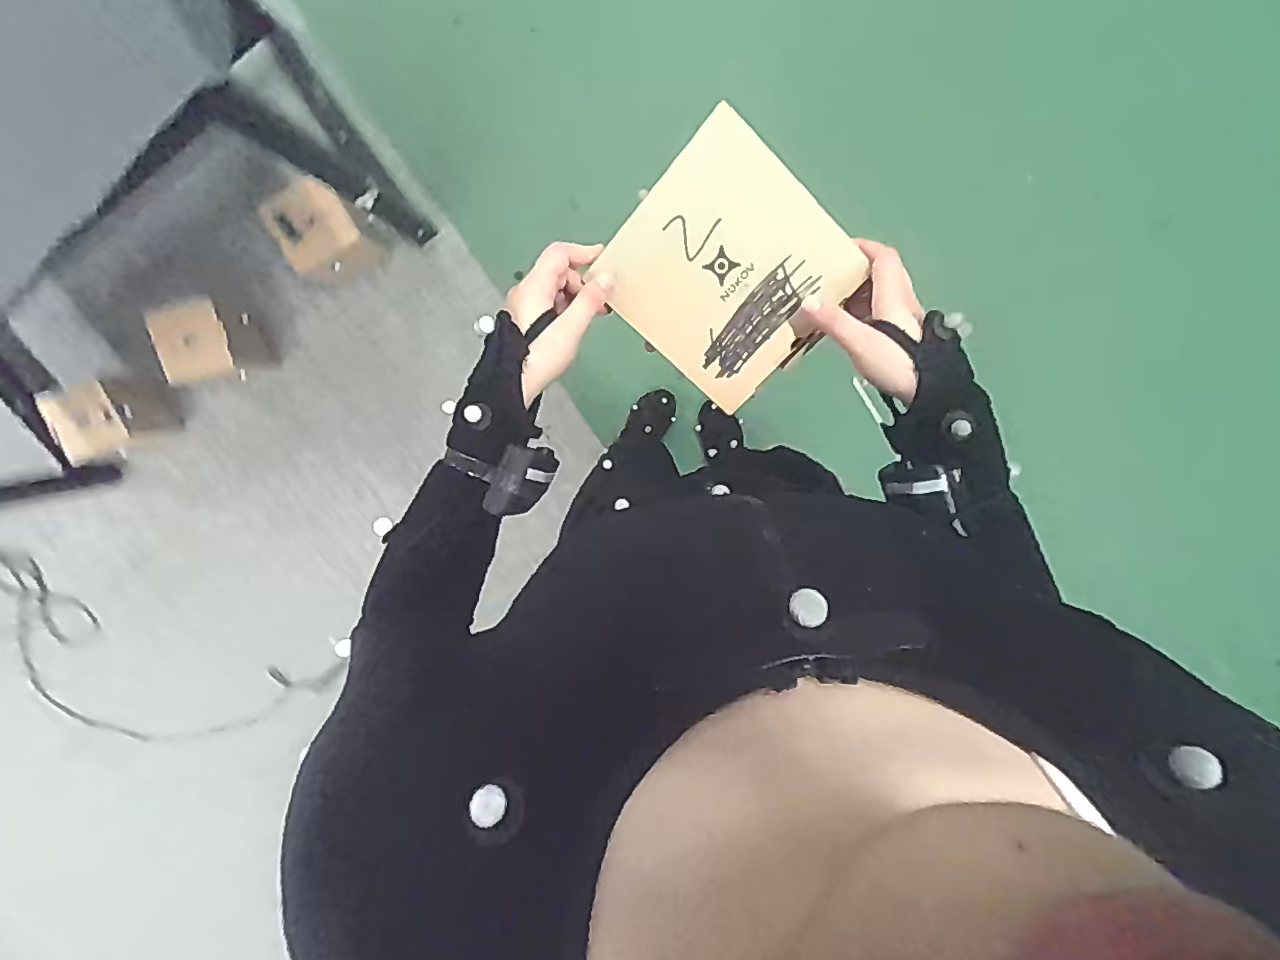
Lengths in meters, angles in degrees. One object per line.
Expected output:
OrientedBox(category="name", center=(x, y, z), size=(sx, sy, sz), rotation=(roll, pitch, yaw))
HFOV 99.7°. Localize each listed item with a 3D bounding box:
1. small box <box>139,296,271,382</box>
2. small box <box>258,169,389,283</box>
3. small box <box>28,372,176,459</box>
OrientedBox(category="small box", center=(-1.062, -0.344, 1.343), size=(0.179, 0.176, 0.168), rotation=(-13, 99, 5))
OrientedBox(category="small box", center=(-0.745, -0.595, 1.293), size=(0.179, 0.176, 0.168), rotation=(-28, 99, 5))
OrientedBox(category="small box", center=(-1.358, -0.167, 1.379), size=(0.179, 0.176, 0.168), rotation=(-21, 99, 5))
